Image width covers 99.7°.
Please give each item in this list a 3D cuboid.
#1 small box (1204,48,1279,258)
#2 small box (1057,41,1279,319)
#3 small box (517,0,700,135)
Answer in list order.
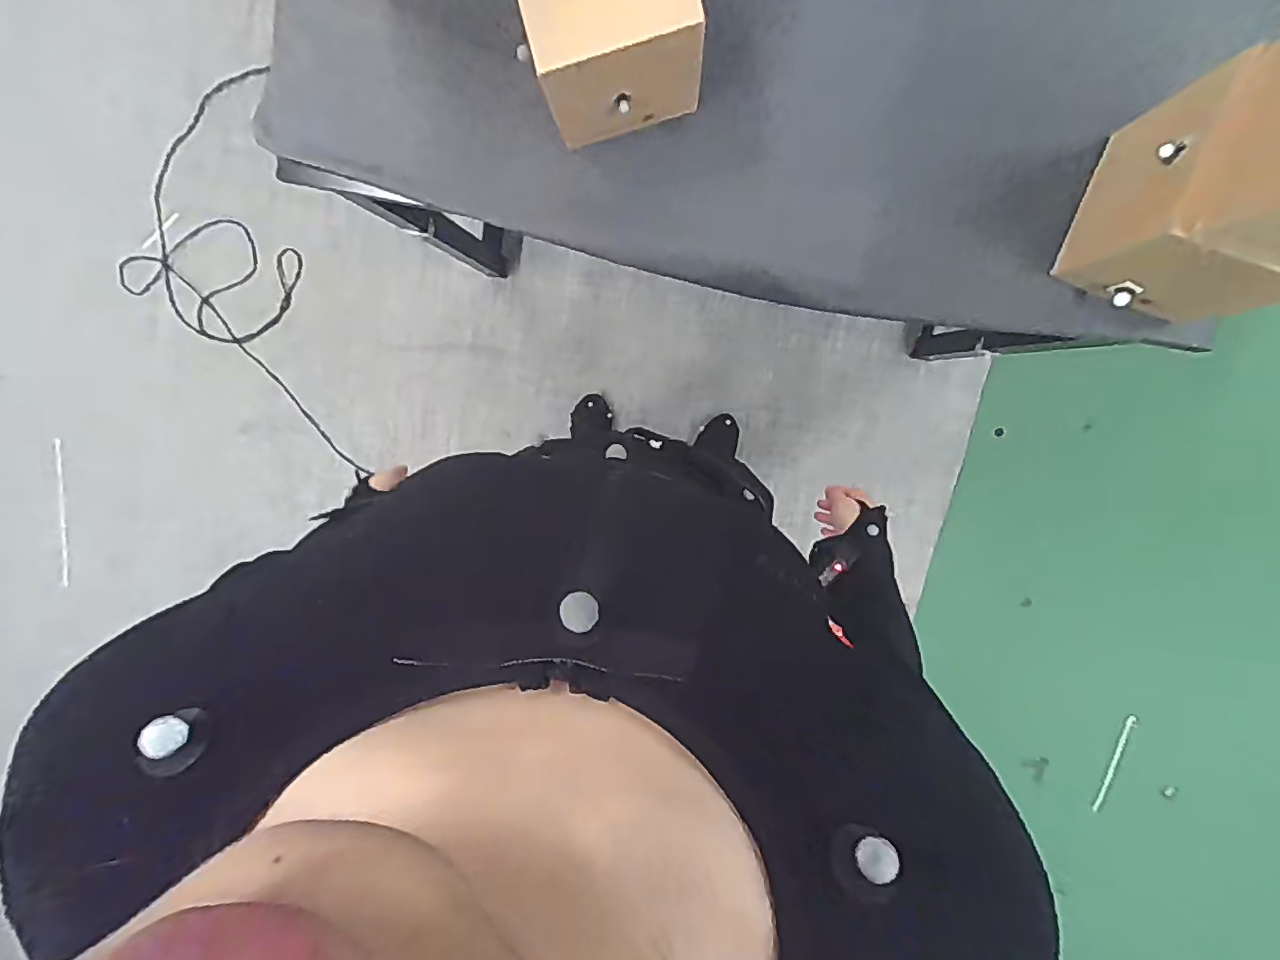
[{"bbox_3d":[0.598,-0.266,0.403,0.168,0.176,0.179,18,96,2],"label":"small box"},{"bbox_3d":[0.594,-0.289,0.564,0.168,0.176,0.179,20,98,2],"label":"small box"},{"bbox_3d":[-0.035,-0.499,0.572,0.168,0.176,0.179,-13,99,5],"label":"small box"}]
